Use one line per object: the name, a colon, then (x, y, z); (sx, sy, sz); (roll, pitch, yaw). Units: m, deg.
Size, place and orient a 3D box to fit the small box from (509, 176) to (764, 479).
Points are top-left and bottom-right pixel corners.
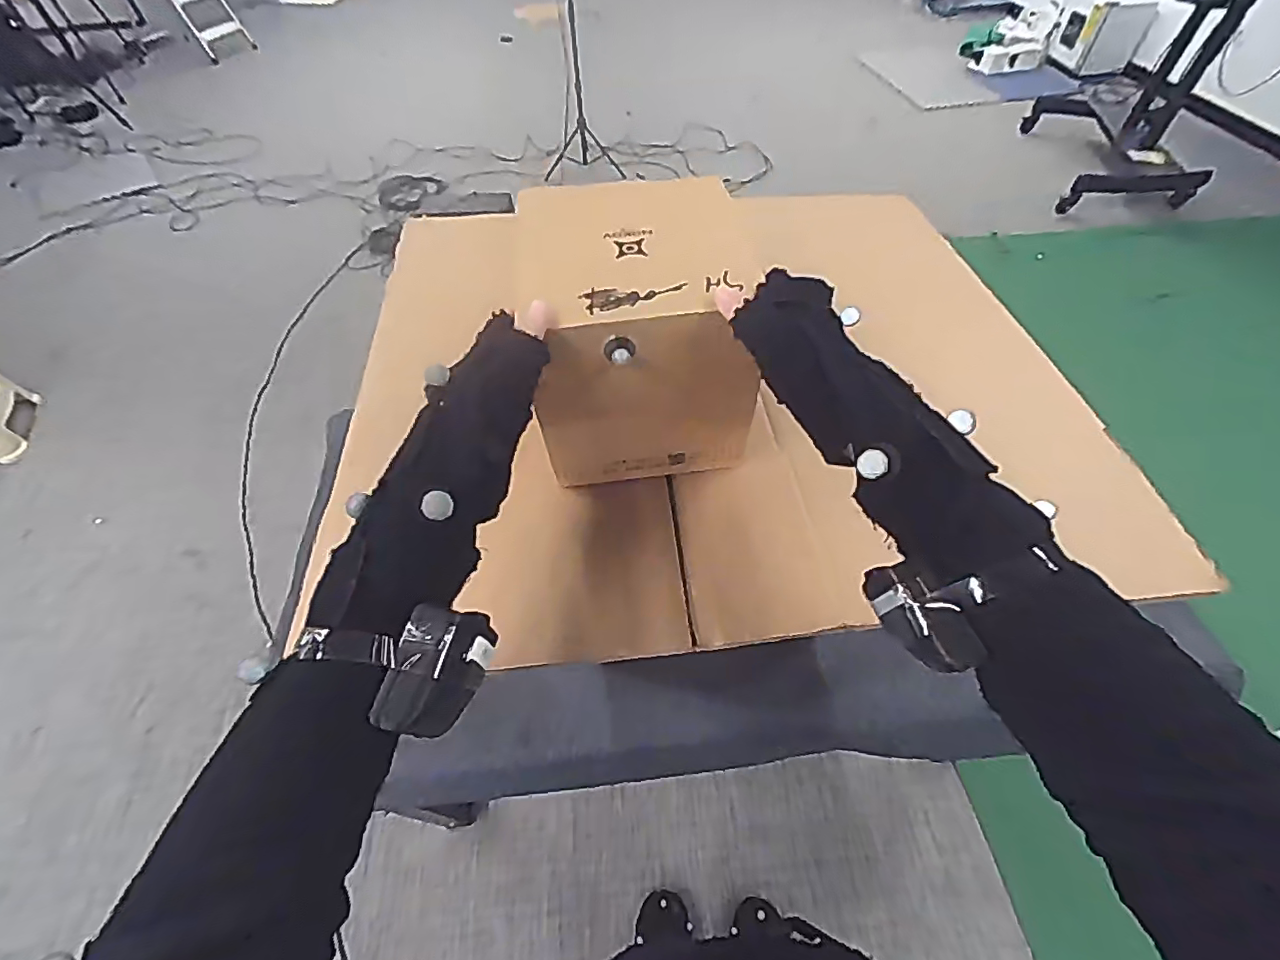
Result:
small box: (-0.007, -0.124, 0.454); (0.168, 0.176, 0.179); (-7, 54, -2)
